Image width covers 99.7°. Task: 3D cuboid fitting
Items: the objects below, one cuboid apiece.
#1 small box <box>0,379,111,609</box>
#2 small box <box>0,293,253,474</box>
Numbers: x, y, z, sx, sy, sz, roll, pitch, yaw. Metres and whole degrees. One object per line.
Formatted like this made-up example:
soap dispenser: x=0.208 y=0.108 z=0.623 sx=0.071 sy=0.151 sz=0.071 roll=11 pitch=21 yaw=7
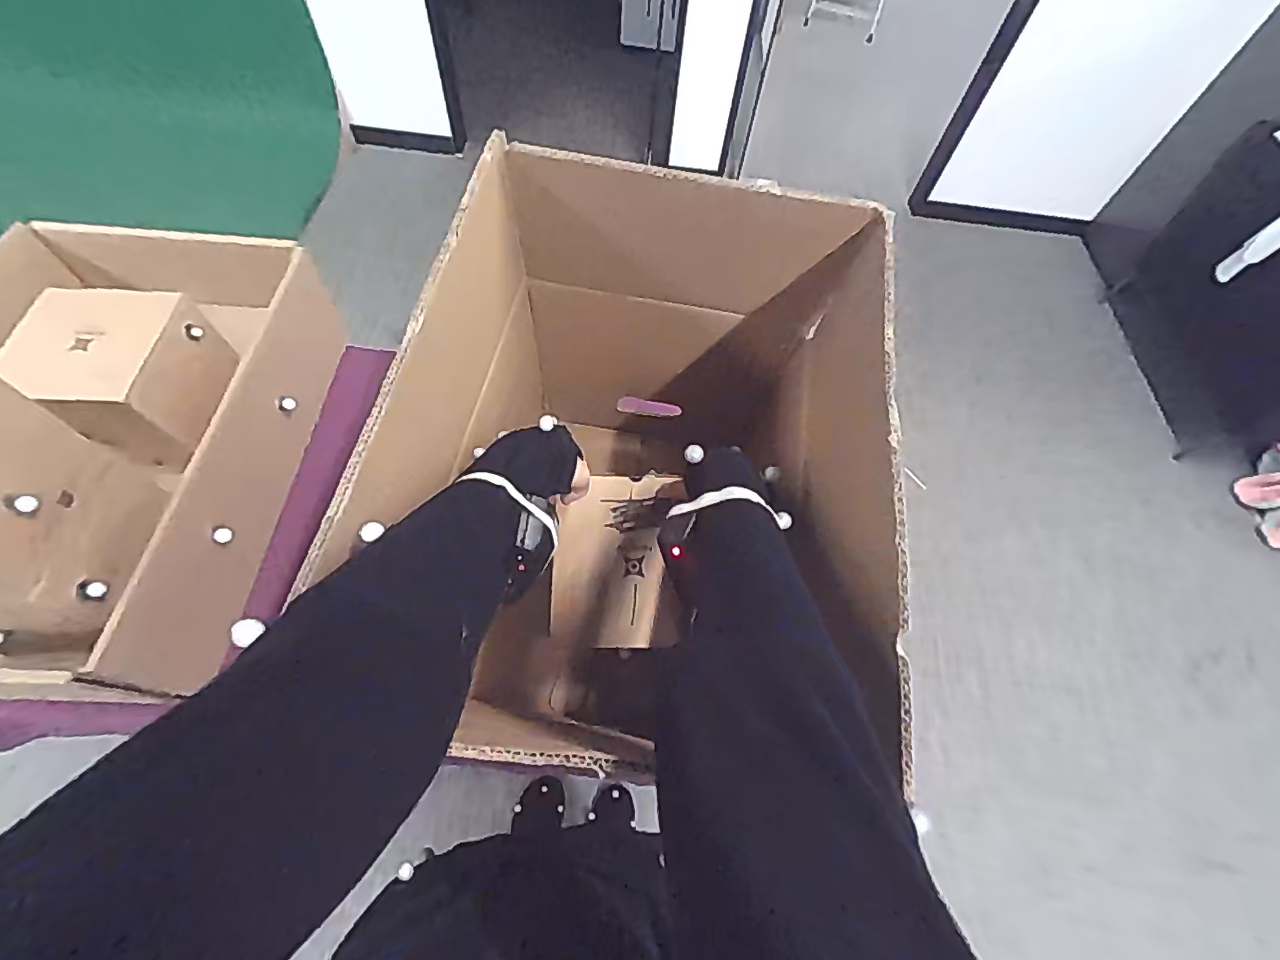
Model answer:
small box: x=-0.626 y=0.004 z=0.449 sx=0.179 sy=0.176 sz=0.168 roll=4 pitch=60 yaw=-2
small box: x=-0.658 y=-0.120 z=0.711 sx=0.168 sy=0.176 sz=0.179 roll=1 pitch=60 yaw=-3
